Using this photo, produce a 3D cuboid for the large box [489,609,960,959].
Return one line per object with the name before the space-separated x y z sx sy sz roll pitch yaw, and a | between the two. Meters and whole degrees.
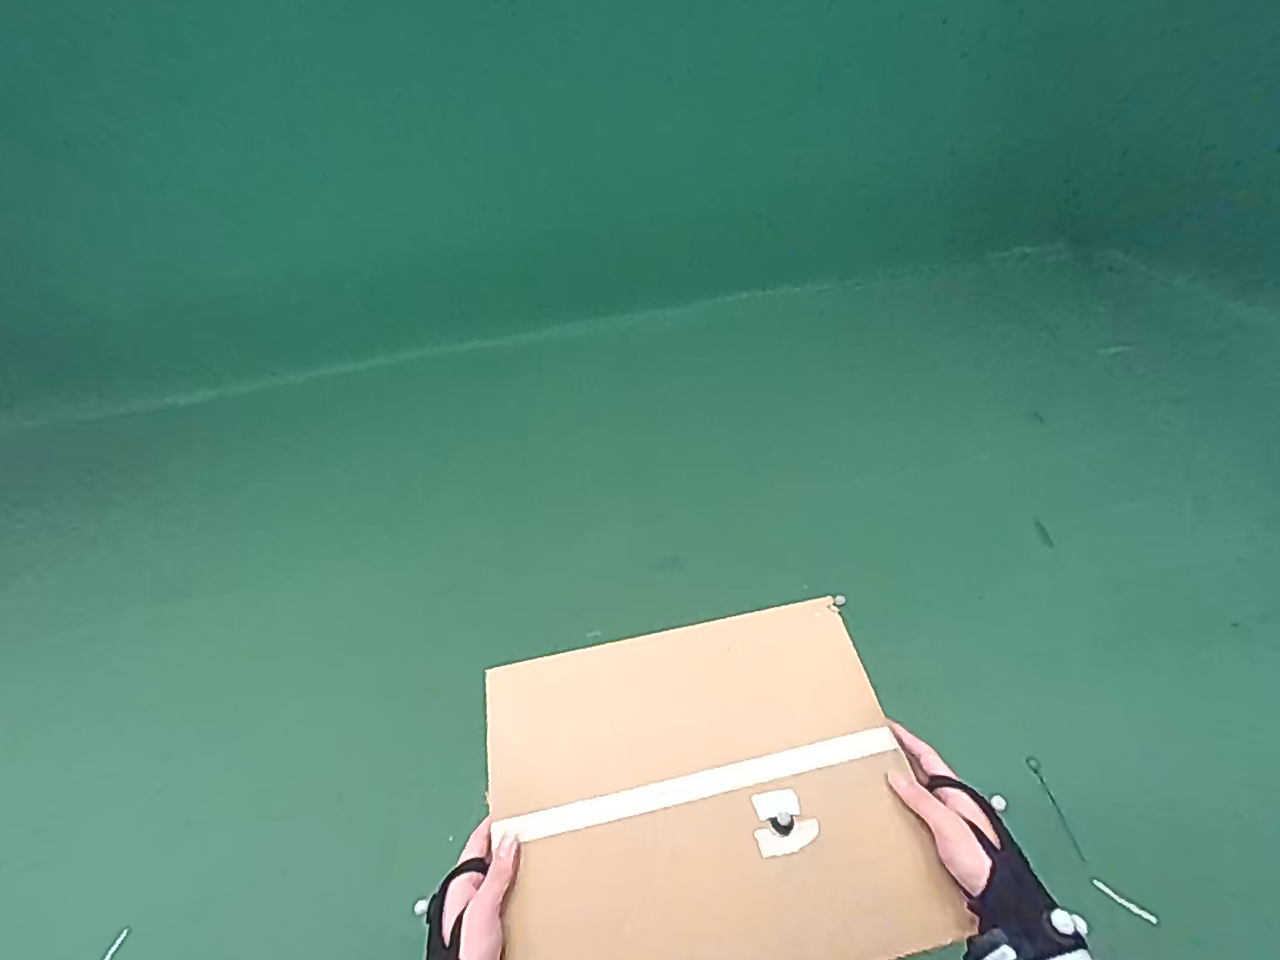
large box | 0.060 0.400 0.654 0.408 0.320 0.320 -11 55 -6
